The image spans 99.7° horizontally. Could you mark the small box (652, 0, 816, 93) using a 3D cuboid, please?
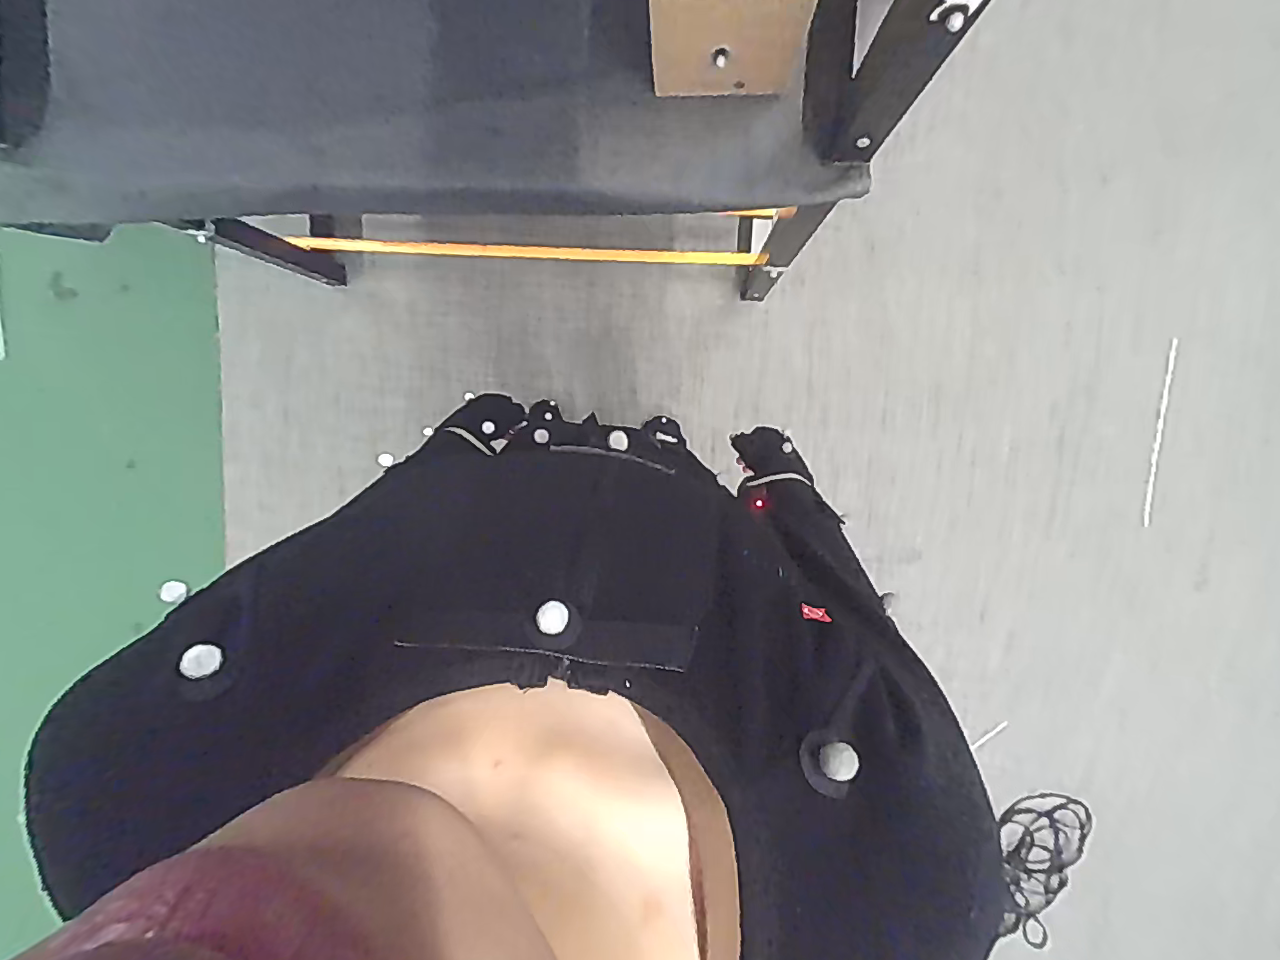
[{"bbox_3d":[0.100,-0.558,0.591,0.168,0.176,0.179,1,96,3],"label":"small box"}]
